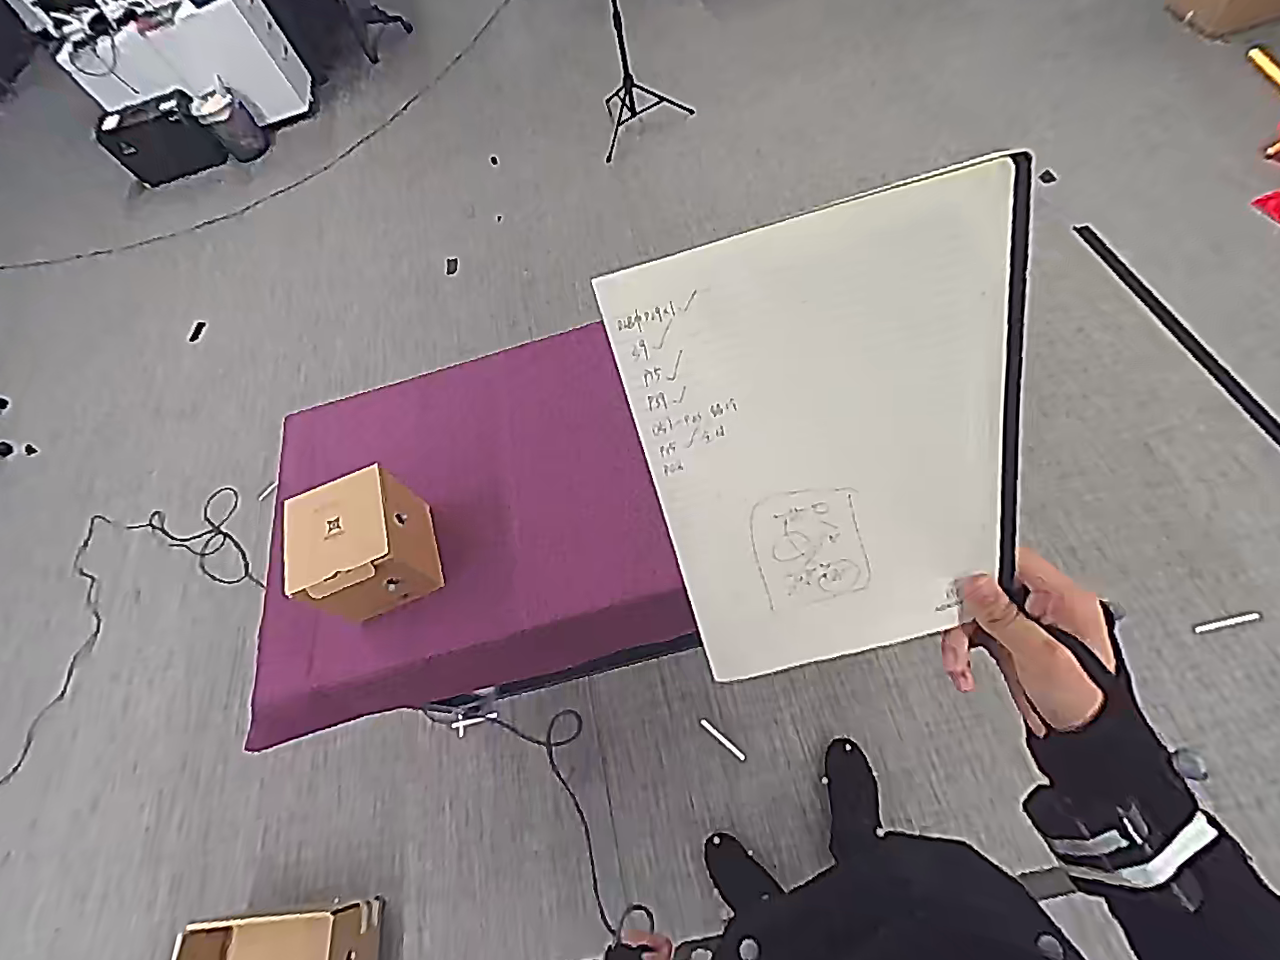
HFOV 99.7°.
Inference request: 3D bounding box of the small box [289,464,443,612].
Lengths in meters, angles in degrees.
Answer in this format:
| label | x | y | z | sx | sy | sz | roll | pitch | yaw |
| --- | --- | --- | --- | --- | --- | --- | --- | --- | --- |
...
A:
| label | x | y | z | sx | sy | sz | roll | pitch | yaw |
| --- | --- | --- | --- | --- | --- | --- | --- | --- | --- |
| small box | -0.453 | 0.108 | 0.910 | 0.168 | 0.176 | 0.179 | -22 | 61 | -1 |
